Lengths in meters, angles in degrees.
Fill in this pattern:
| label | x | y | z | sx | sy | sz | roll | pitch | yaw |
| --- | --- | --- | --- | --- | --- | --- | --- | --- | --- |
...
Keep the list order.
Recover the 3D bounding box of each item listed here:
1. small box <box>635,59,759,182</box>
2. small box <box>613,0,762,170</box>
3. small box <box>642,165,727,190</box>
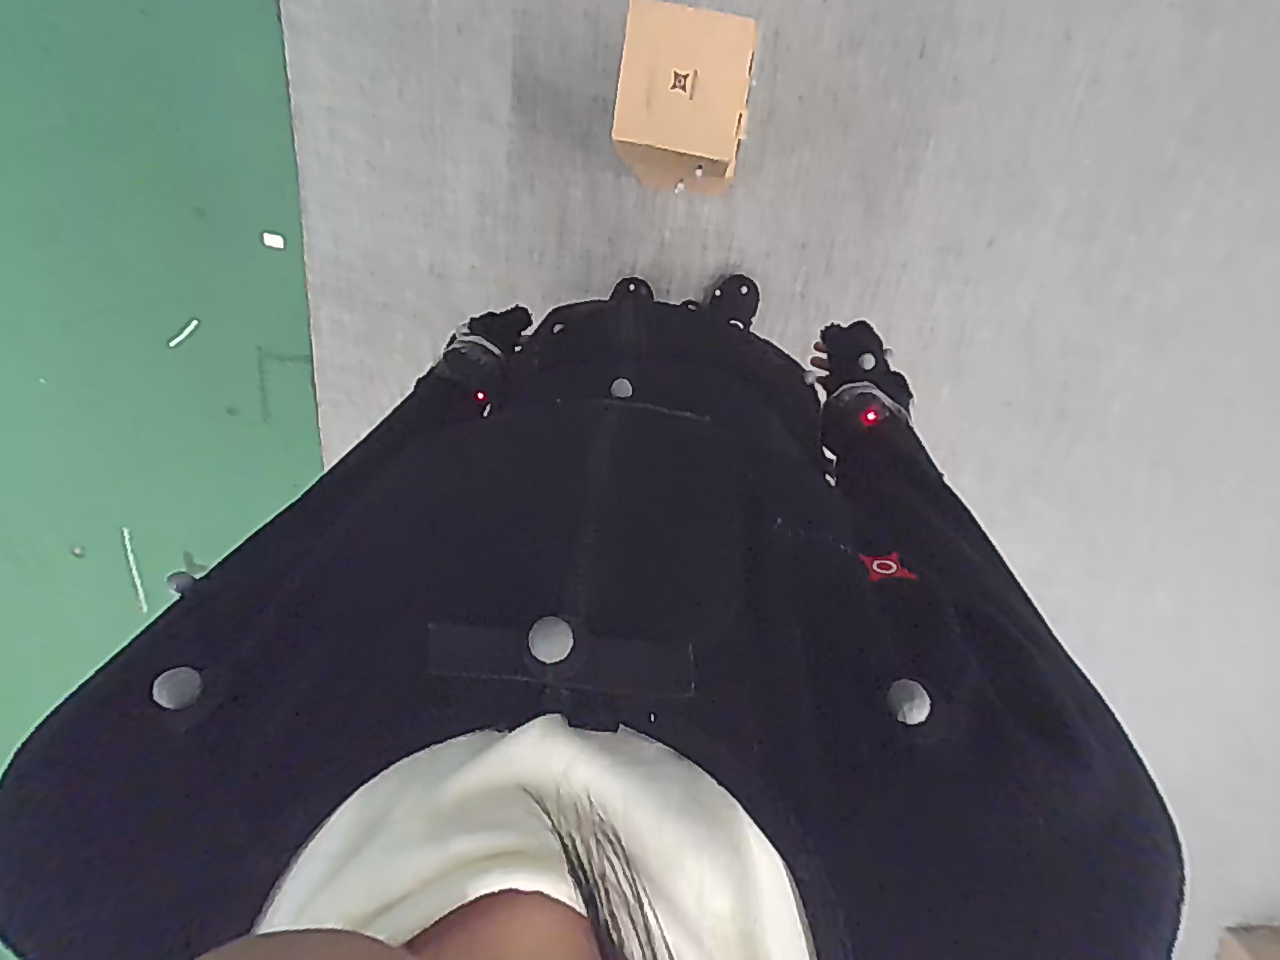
| label | x | y | z | sx | sy | sz | roll | pitch | yaw |
| --- | --- | --- | --- | --- | --- | --- | --- | --- | --- |
| small box | 0.094 | -0.637 | 0.952 | 0.179 | 0.176 | 0.168 | 11 | 113 | 0 |
| small box | 0.068 | -0.574 | 0.803 | 0.179 | 0.176 | 0.168 | 11 | 112 | 2 |
| small box | 0.107 | -0.703 | 1.098 | 0.179 | 0.176 | 0.168 | 13 | 111 | -1 |
